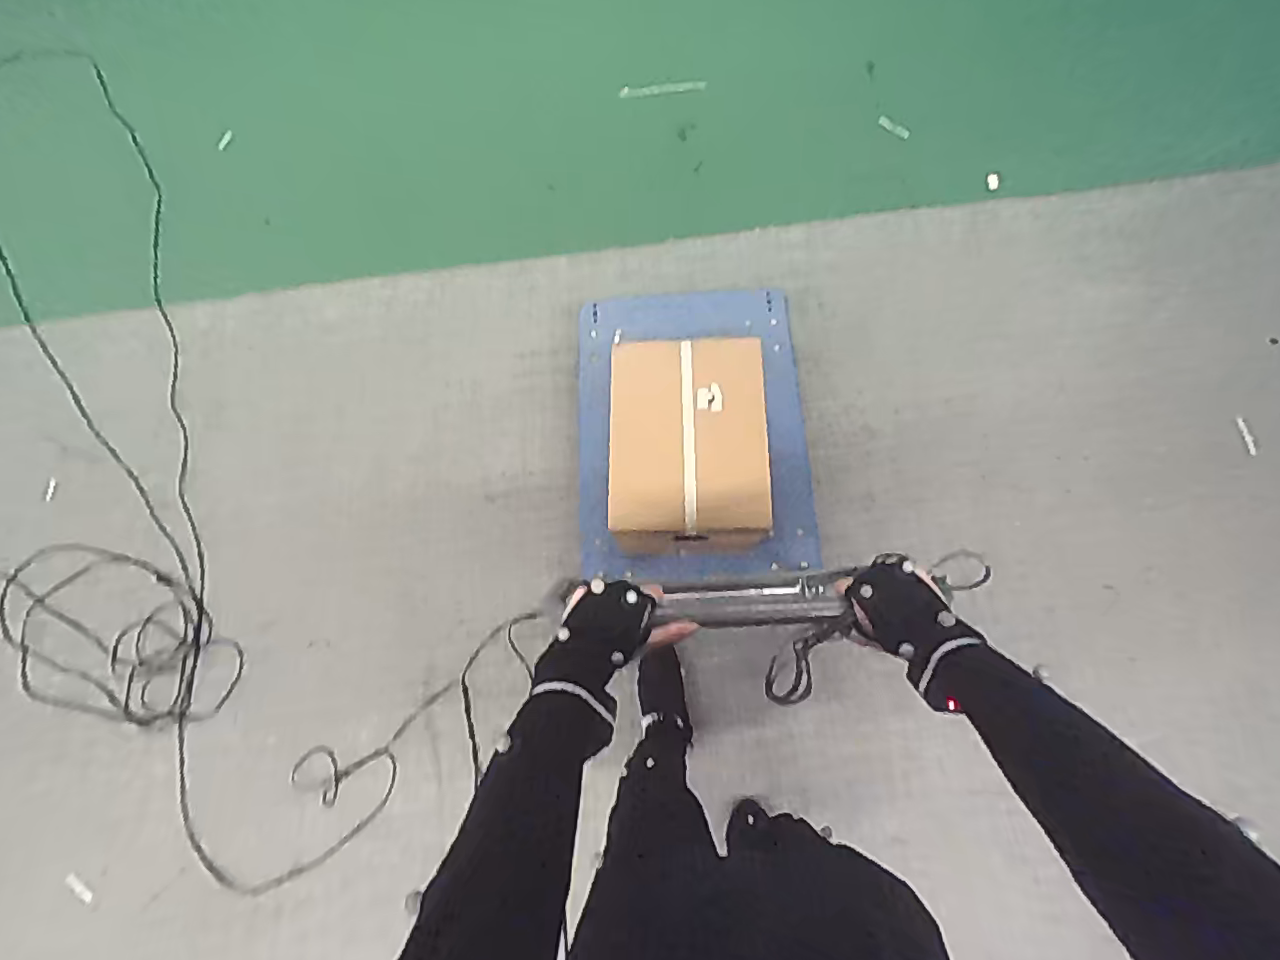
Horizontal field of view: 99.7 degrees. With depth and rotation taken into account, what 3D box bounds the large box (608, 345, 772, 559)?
[{"bbox_3d":[0.102,-0.045,1.219,0.320,0.320,0.408,-1,73,3],"label":"large box"}]
